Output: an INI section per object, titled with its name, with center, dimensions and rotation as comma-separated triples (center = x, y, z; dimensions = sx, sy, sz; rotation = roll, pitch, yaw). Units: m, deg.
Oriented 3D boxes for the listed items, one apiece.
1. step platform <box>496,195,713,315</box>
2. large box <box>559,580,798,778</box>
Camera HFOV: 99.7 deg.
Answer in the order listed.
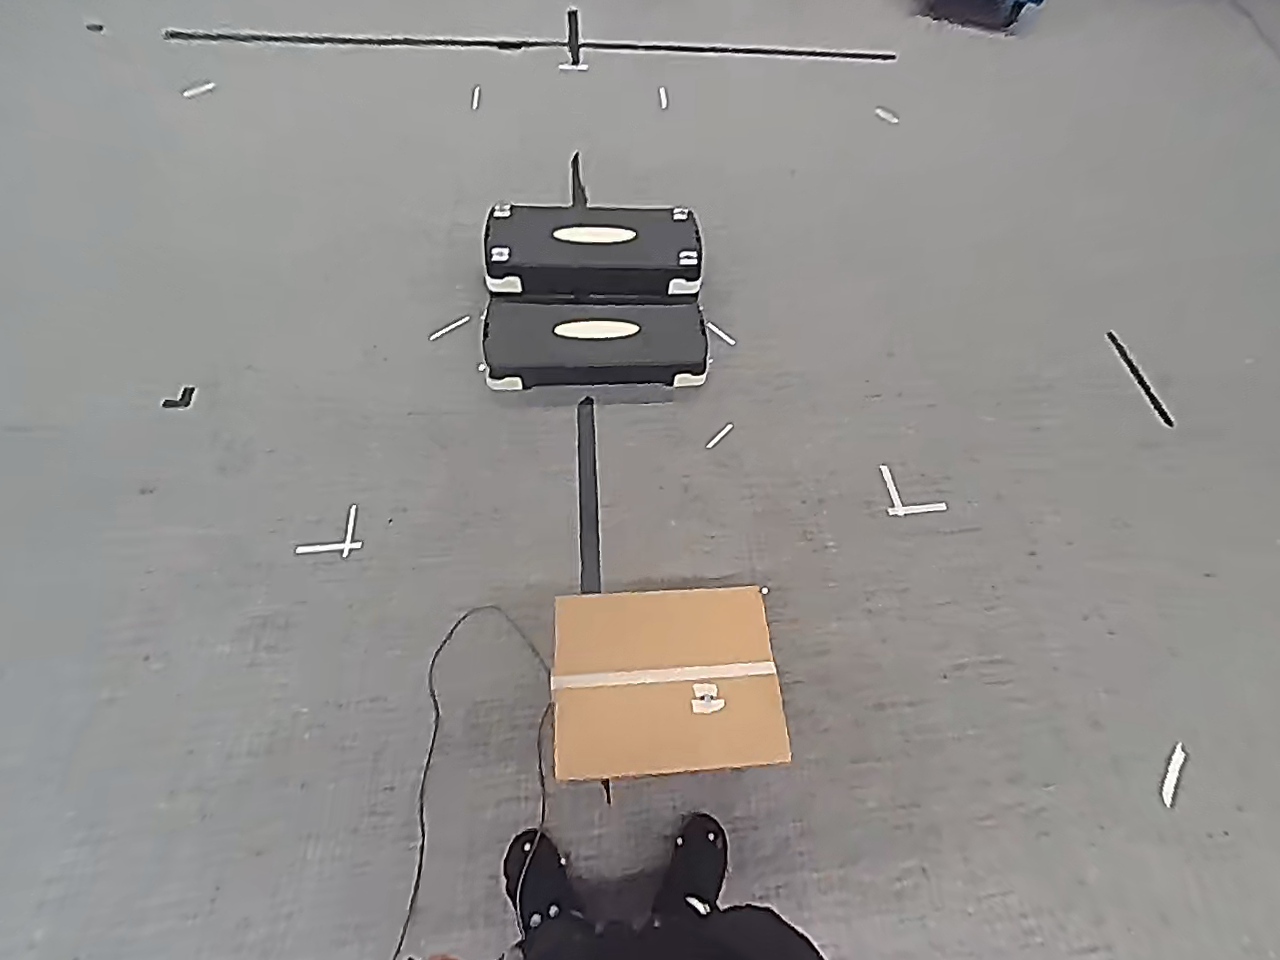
[step platform]
center = -0.110, -0.722, 1.735
dimensions = 0.684, 0.204, 0.286
rotation = 4, 62, -4
[large box]
center = 0.046, 0.407, 1.091
dimensions = 0.408, 0.320, 0.320
rotation = -1, 62, -6
